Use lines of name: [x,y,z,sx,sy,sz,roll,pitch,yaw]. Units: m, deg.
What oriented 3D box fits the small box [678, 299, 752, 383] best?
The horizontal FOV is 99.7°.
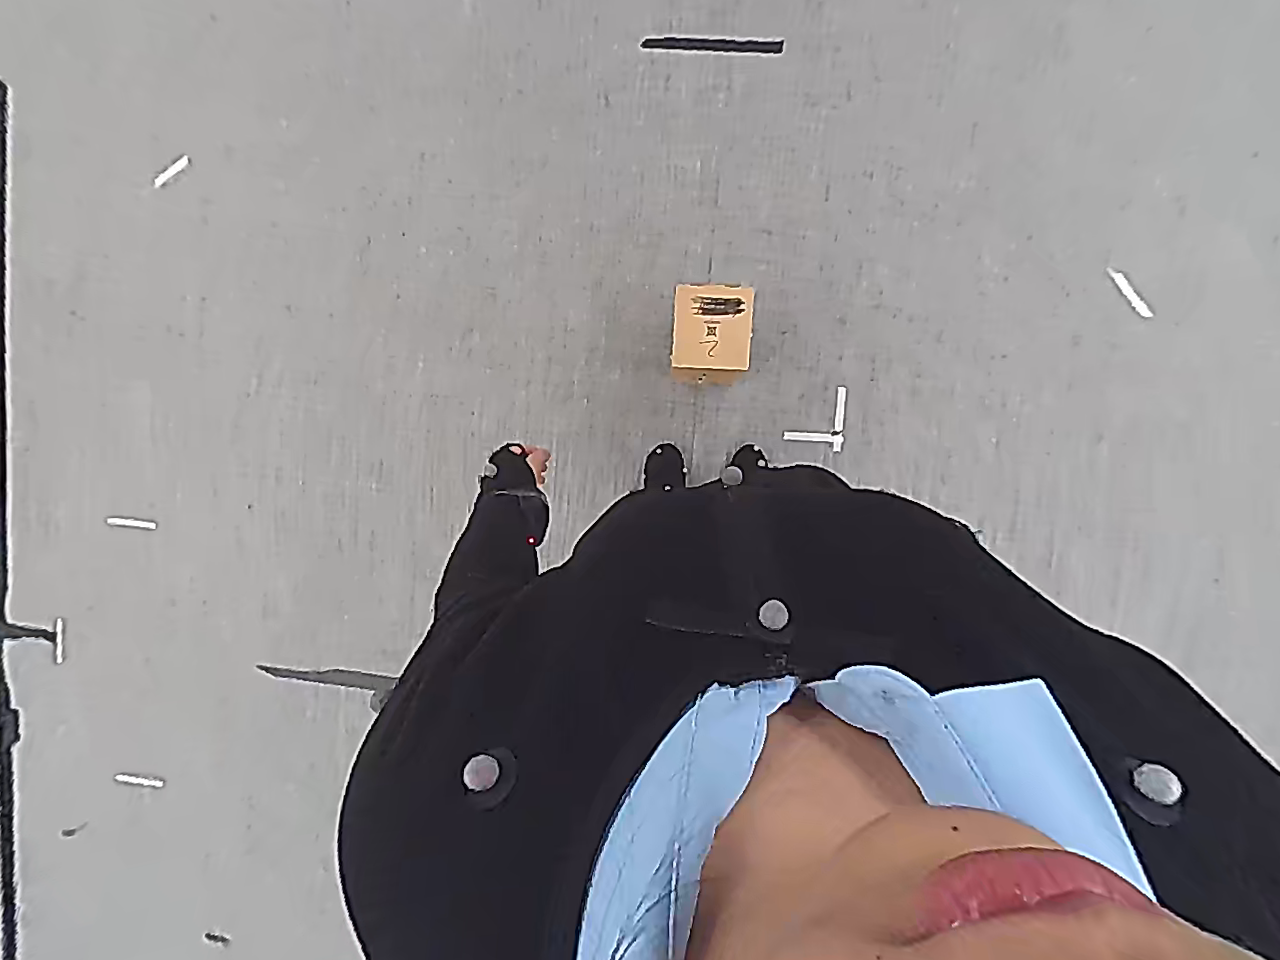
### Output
small box: [0.185,-0.349,1.383,0.168,0.176,0.179,4,95,3]
